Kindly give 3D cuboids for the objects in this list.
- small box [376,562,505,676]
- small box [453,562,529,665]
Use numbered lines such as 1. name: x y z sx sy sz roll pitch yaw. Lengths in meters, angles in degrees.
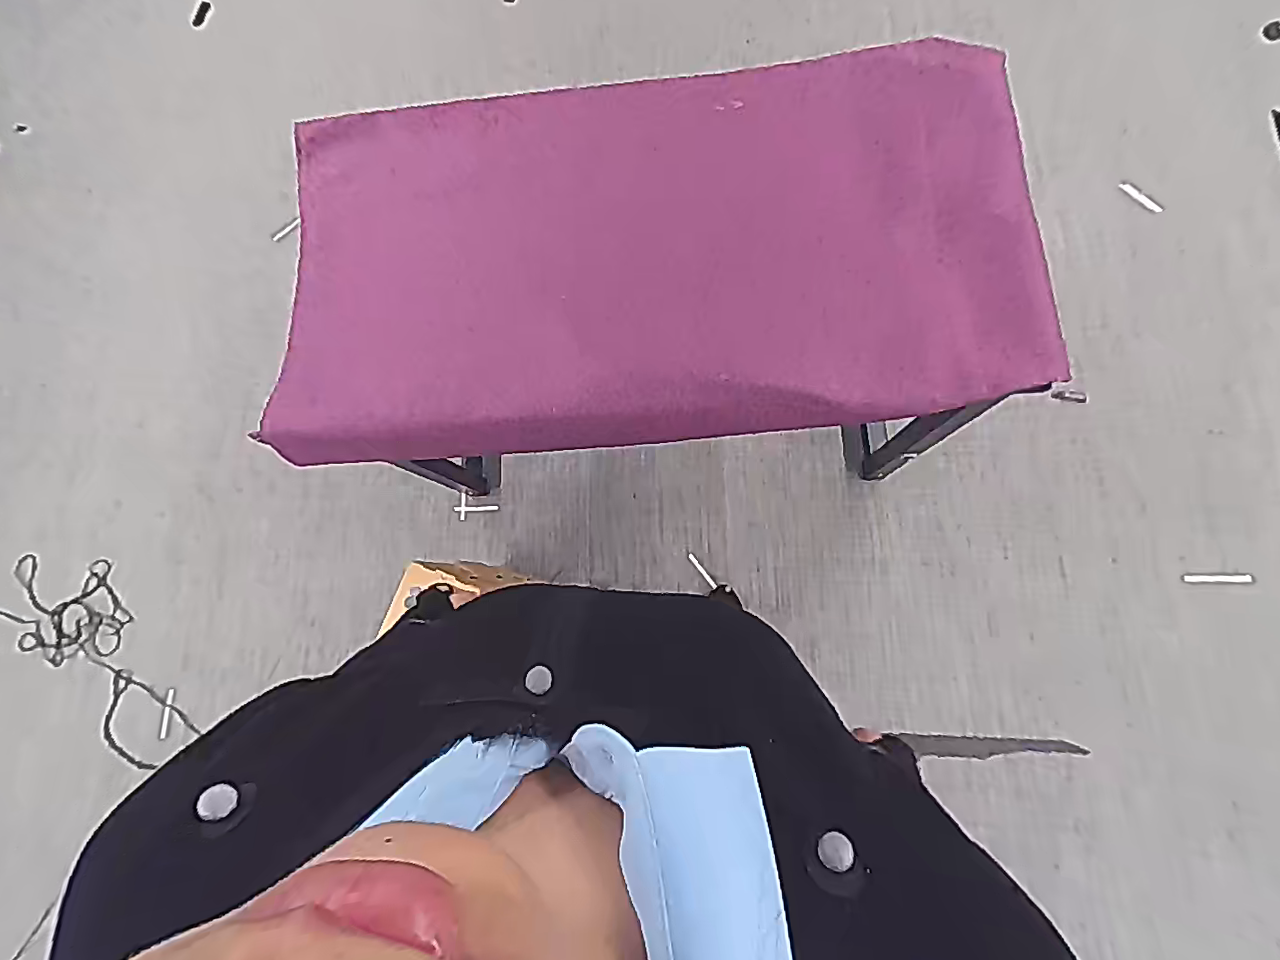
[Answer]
1. small box: -0.406 0.286 1.136 0.168 0.176 0.179 19 81 9
2. small box: -0.385 0.313 1.296 0.168 0.176 0.179 26 83 11
